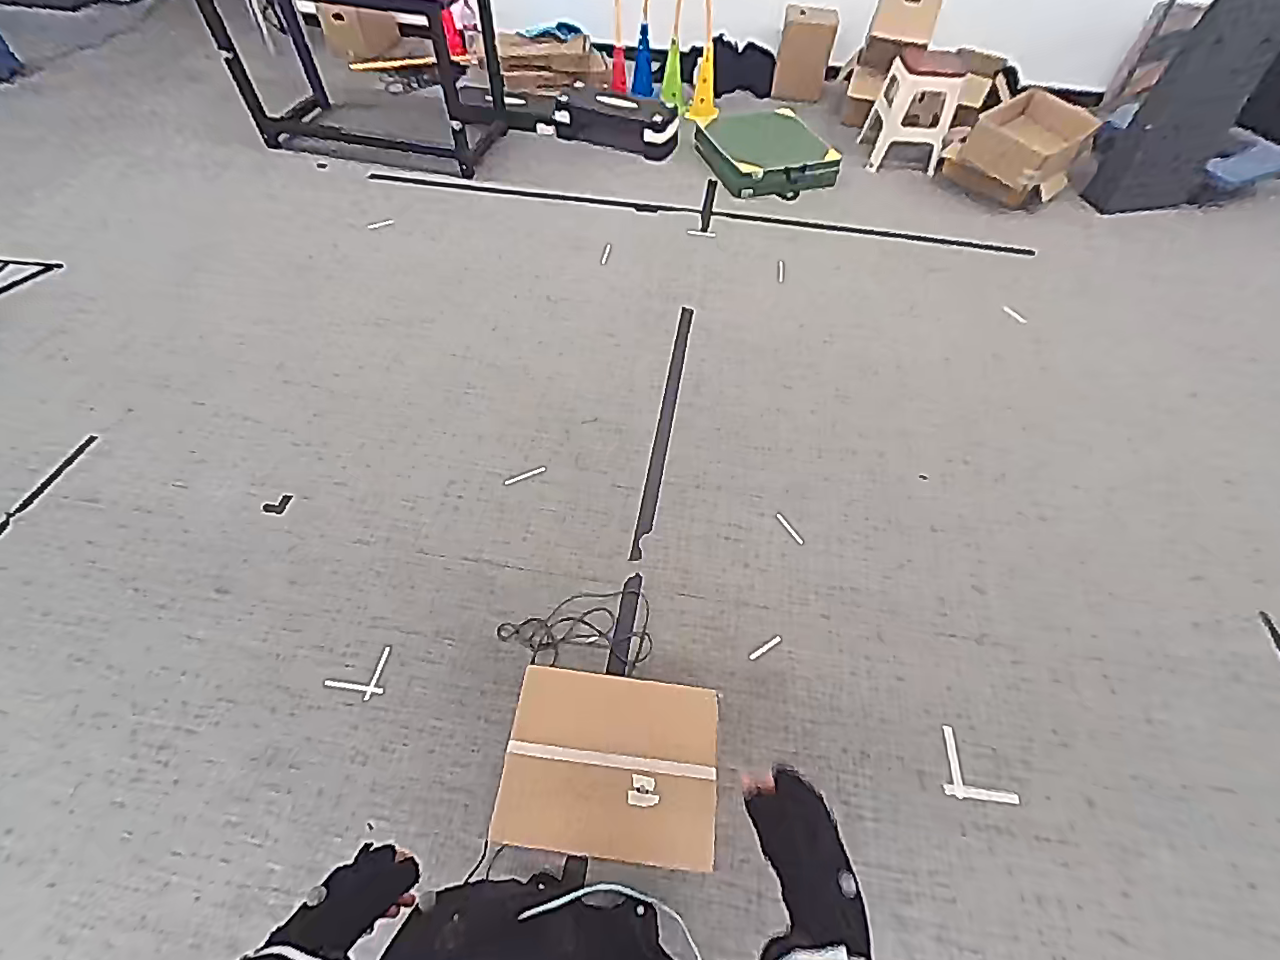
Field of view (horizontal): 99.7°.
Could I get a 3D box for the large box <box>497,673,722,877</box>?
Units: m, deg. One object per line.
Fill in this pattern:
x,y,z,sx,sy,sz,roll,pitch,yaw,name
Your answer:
-0.055,0.637,1.161,0.408,0.320,0.320,8,55,1,large box
